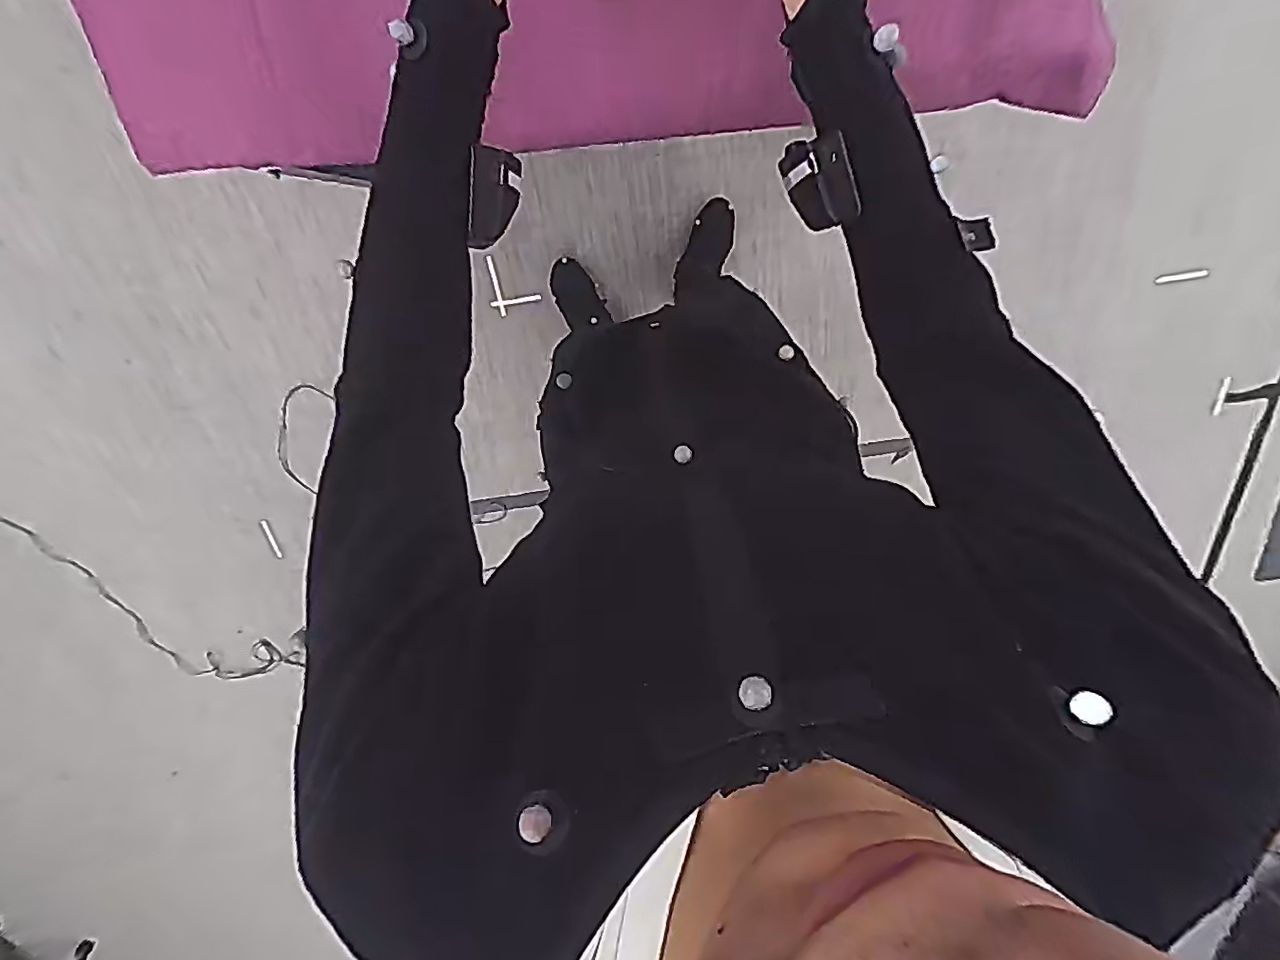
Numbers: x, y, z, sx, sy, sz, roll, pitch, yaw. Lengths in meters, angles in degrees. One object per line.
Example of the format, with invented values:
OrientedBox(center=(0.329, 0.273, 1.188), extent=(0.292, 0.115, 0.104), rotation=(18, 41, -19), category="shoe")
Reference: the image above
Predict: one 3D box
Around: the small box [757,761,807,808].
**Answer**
OrientedBox(center=(0.618, 1.361, 2.346), extent=(0.168, 0.176, 0.179), rotation=(-13, 116, 0), category="small box")
